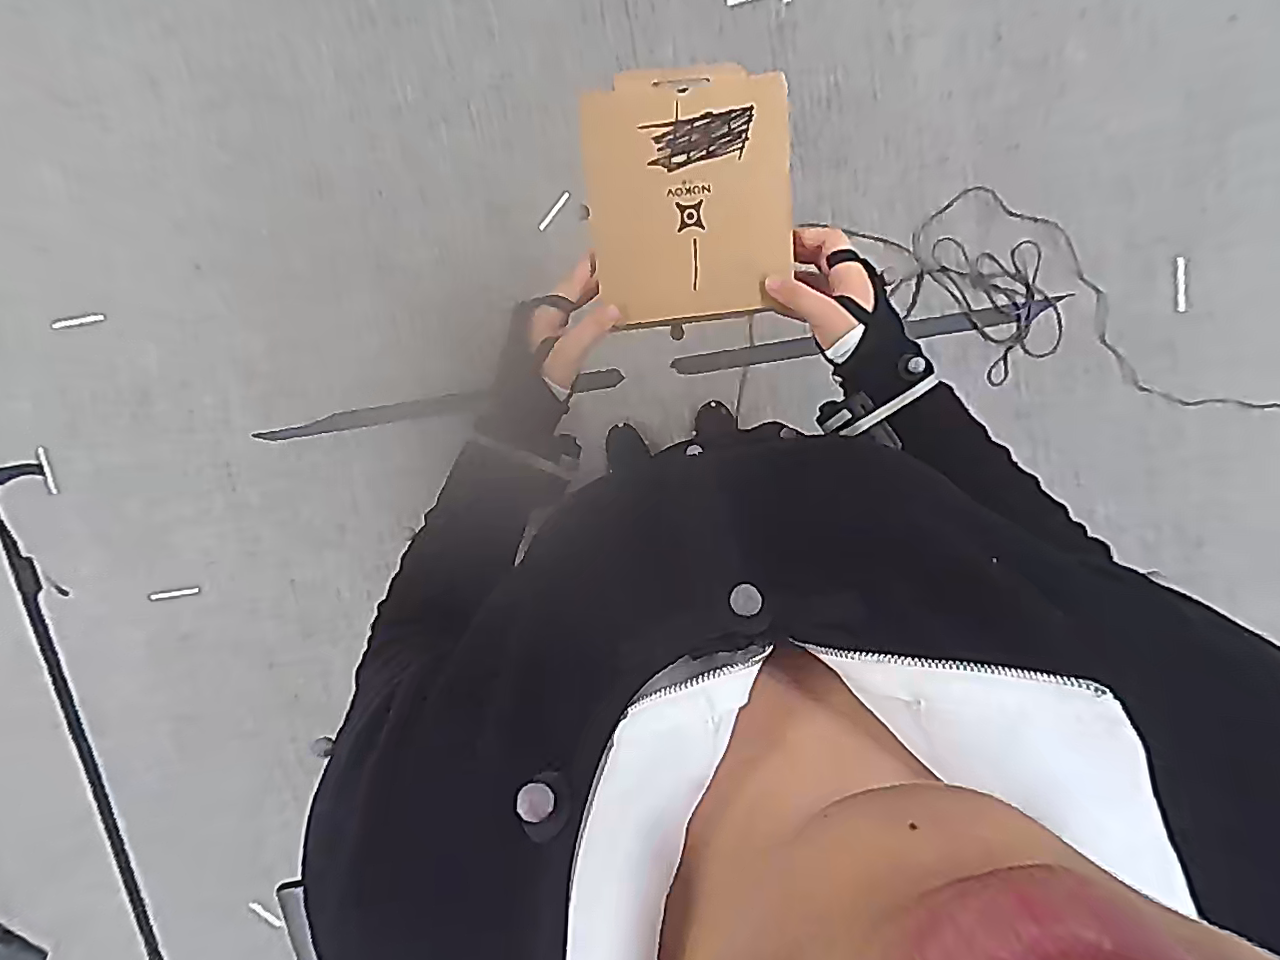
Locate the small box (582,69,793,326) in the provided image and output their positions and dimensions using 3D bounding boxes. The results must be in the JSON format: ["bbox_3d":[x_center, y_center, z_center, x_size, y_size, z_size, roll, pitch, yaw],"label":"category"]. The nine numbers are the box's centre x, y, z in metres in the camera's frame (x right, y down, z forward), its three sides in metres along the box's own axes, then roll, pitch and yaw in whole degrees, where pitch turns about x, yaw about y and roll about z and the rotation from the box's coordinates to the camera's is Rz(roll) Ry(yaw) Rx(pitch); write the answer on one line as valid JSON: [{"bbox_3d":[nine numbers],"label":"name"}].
[{"bbox_3d":[0.037,-0.248,0.517,0.168,0.176,0.179,-7,105,-2],"label":"small box"}]
